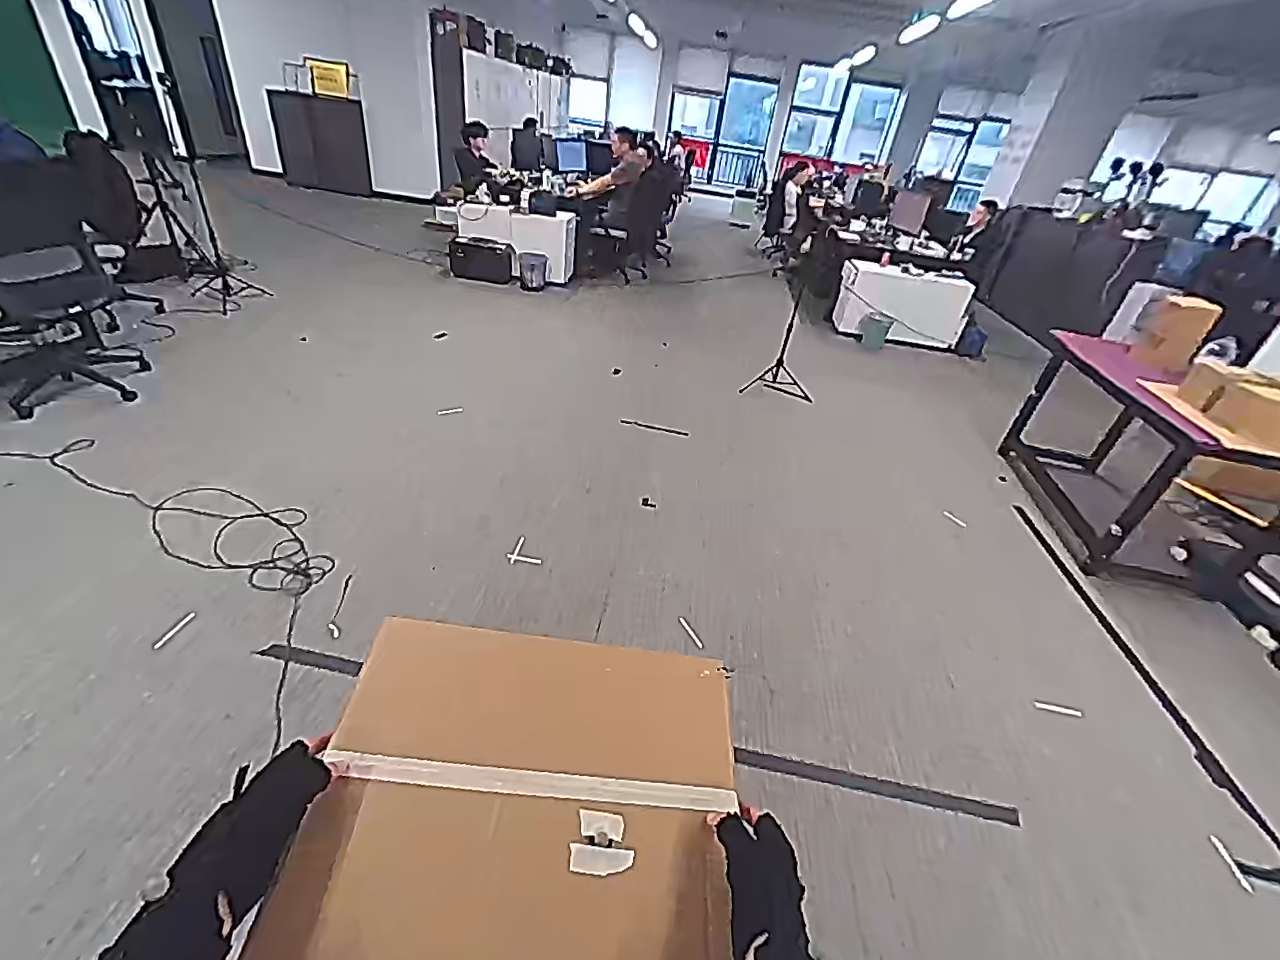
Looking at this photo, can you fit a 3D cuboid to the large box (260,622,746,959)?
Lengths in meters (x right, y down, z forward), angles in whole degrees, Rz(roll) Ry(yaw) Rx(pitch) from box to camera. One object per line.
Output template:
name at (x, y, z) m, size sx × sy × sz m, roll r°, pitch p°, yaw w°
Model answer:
large box at (-0.128, 0.406, 0.647) m, size 0.408 × 0.320 × 0.320 m, roll 10°, pitch 44°, yaw -6°
